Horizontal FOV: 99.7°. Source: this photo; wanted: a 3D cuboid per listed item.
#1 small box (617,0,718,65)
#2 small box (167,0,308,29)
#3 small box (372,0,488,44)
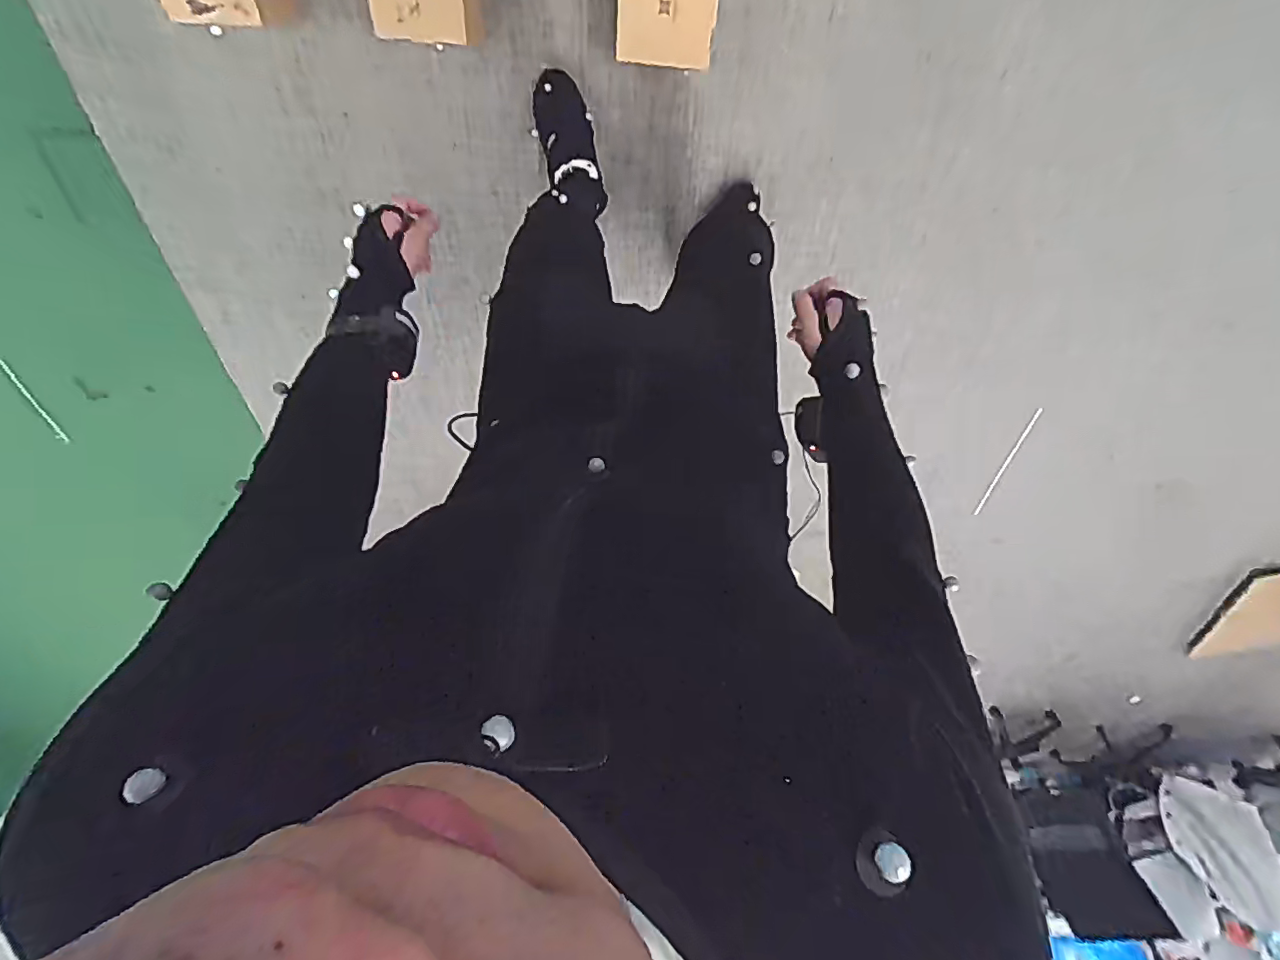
[{"bbox_3d":[0.049,-0.889,1.005,0.179,0.176,0.168,2,133,-3],"label":"small box"},{"bbox_3d":[-0.741,-0.931,0.971,0.168,0.176,0.179,2,131,0],"label":"small box"},{"bbox_3d":[-0.383,-0.915,0.982,0.168,0.176,0.179,3,132,-2],"label":"small box"}]
